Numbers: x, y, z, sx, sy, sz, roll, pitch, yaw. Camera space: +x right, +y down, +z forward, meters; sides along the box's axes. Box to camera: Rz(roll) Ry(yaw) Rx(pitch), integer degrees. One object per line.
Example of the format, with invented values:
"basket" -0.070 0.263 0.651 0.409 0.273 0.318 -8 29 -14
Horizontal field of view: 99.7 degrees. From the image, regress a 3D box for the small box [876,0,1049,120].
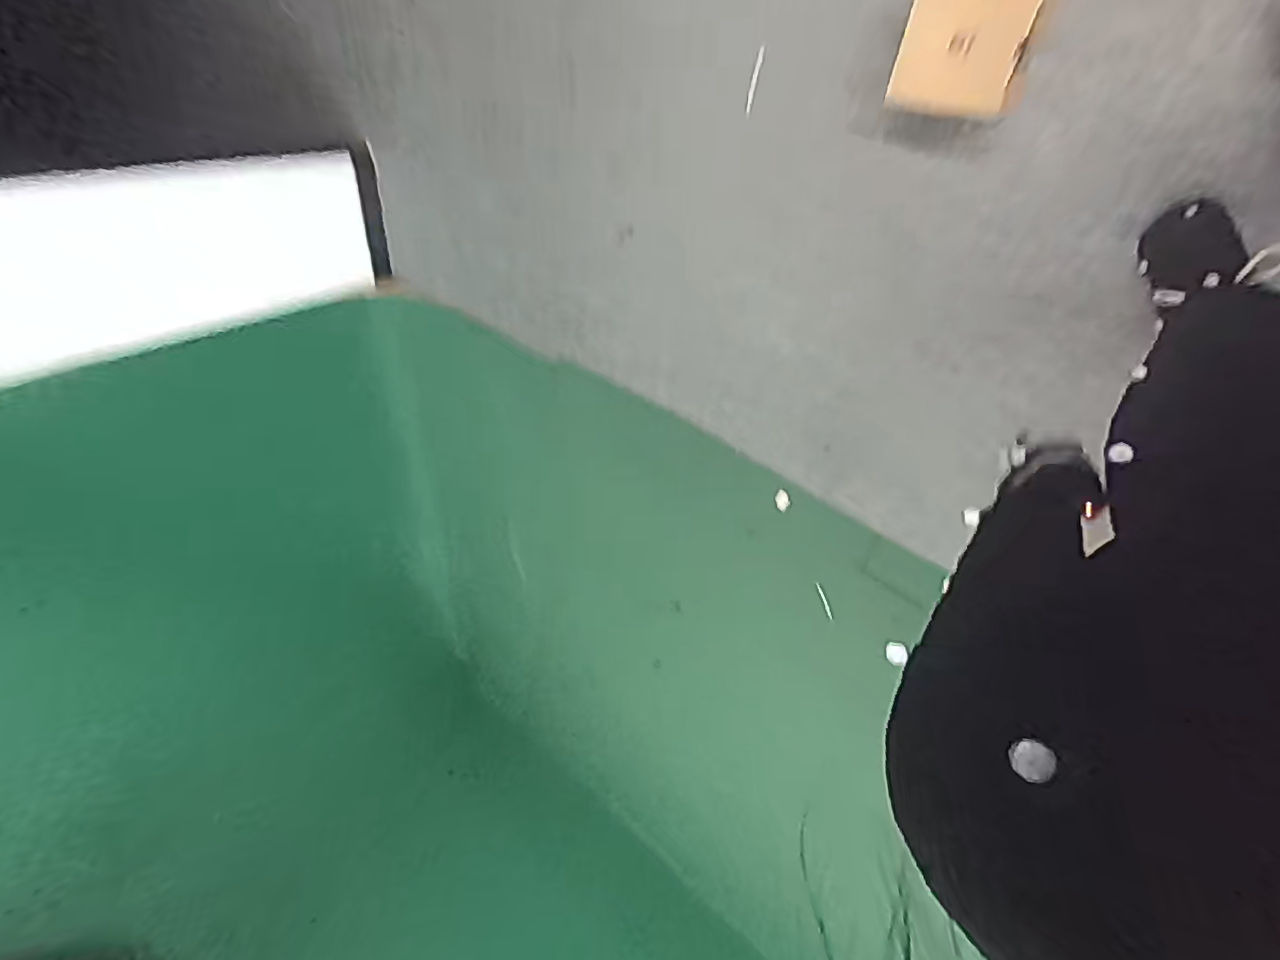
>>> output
"small box" 0.514 -0.685 0.866 0.179 0.176 0.168 27 132 24
